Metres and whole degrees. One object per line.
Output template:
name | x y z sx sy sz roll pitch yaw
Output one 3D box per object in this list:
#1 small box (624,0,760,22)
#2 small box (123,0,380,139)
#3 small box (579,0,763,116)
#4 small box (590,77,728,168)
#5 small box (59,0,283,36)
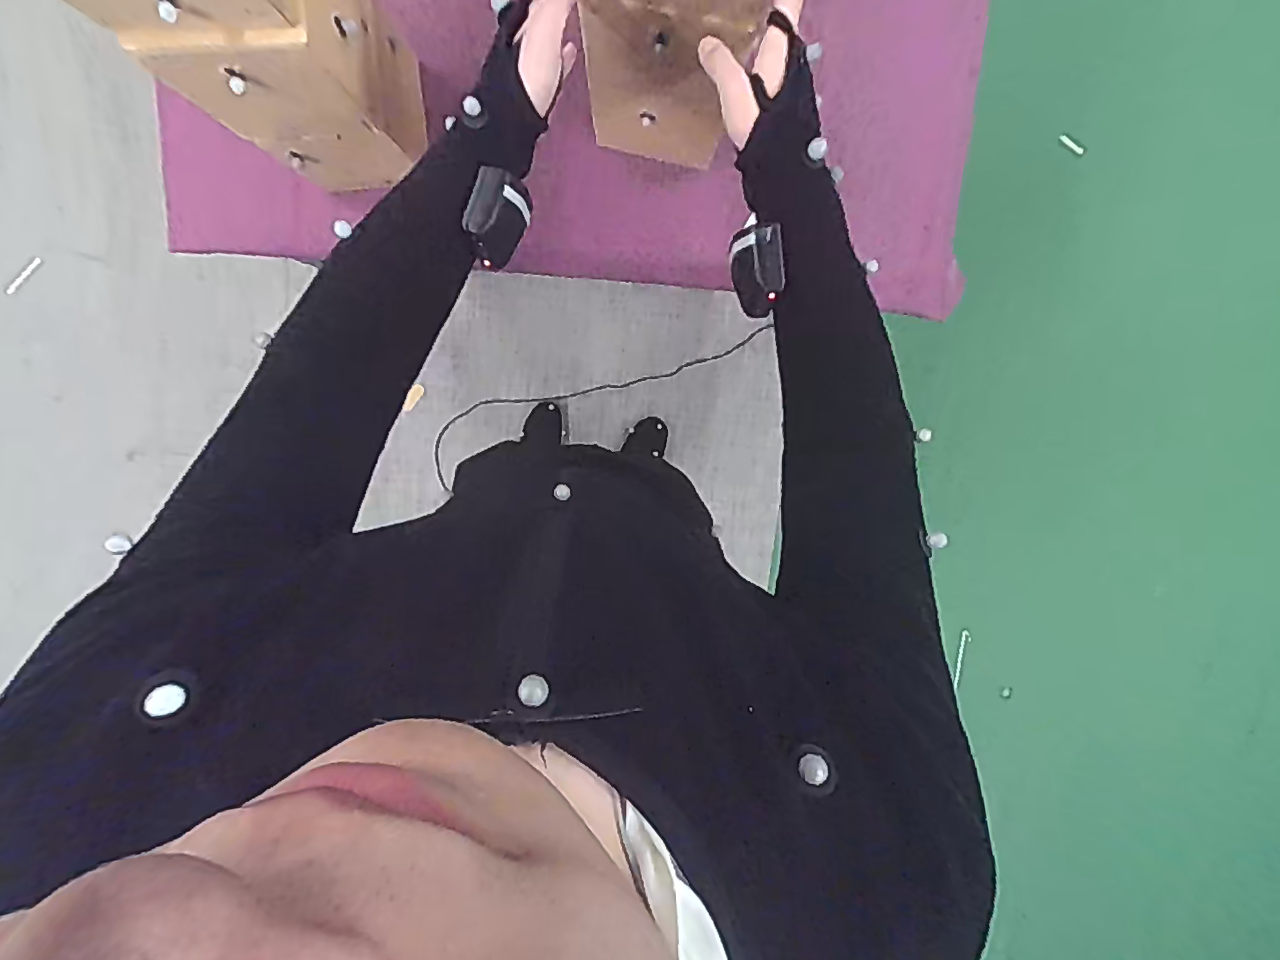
small box | 0.042 -0.498 0.409 0.179 0.176 0.168 9 100 -3
small box | -0.395 -0.485 0.569 0.179 0.176 0.168 -3 99 0
small box | 0.038 -0.523 0.572 0.179 0.176 0.168 10 100 -3
small box | 0.037 -0.553 0.732 0.179 0.176 0.168 11 100 -4
small box | -0.401 -0.474 0.404 0.179 0.176 0.168 -2 98 -1
